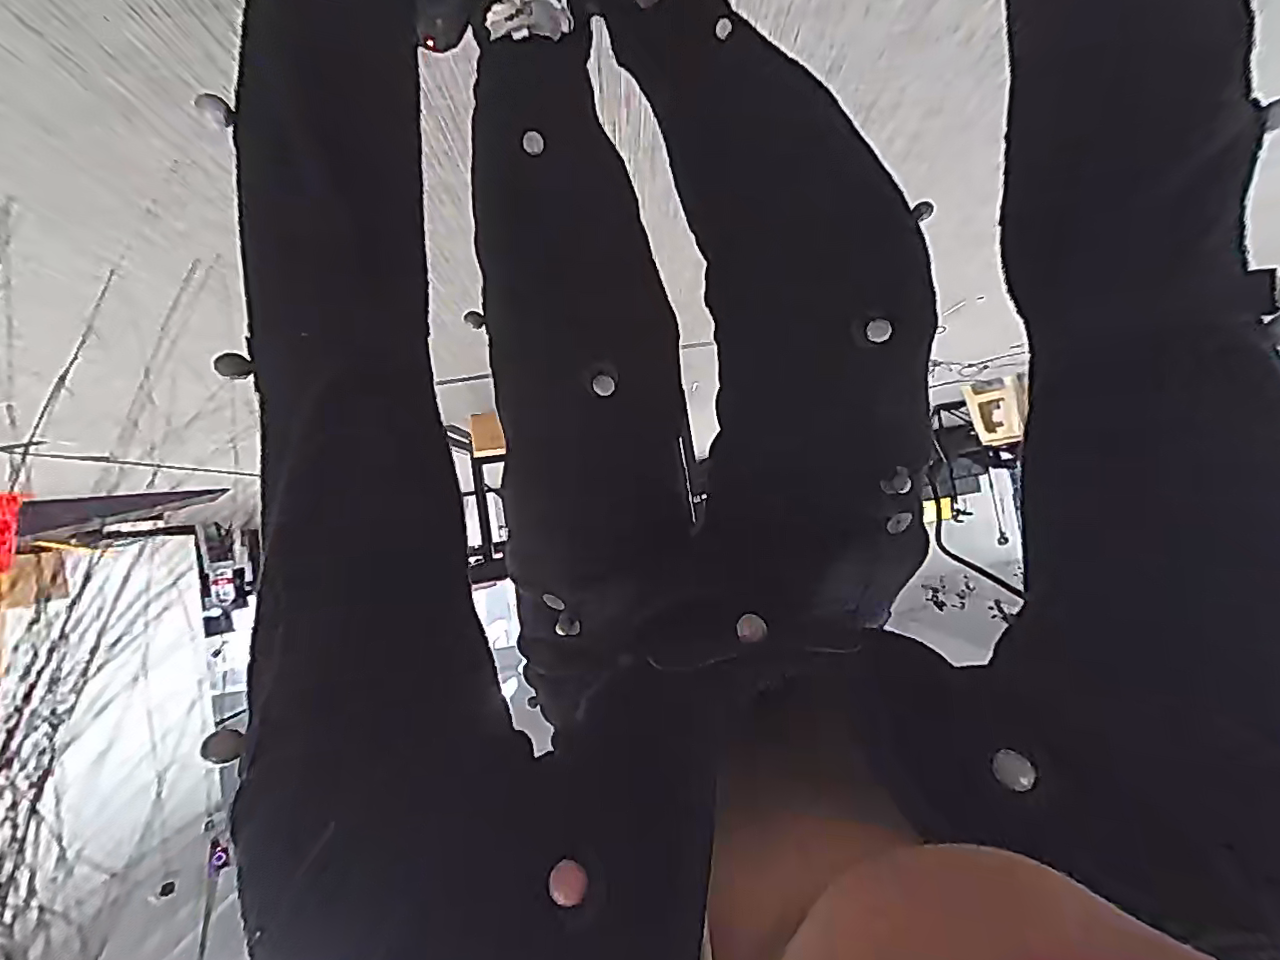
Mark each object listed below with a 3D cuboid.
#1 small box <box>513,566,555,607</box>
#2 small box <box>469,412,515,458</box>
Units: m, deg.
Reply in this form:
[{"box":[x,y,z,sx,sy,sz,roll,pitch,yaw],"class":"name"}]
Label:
[{"box":[-0.526,0.524,2.685,0.179,0.176,0.168,-10,177,-4],"class":"small box"},{"box":[-0.683,-0.205,2.478,0.179,0.176,0.168,-9,176,-19],"class":"small box"}]
